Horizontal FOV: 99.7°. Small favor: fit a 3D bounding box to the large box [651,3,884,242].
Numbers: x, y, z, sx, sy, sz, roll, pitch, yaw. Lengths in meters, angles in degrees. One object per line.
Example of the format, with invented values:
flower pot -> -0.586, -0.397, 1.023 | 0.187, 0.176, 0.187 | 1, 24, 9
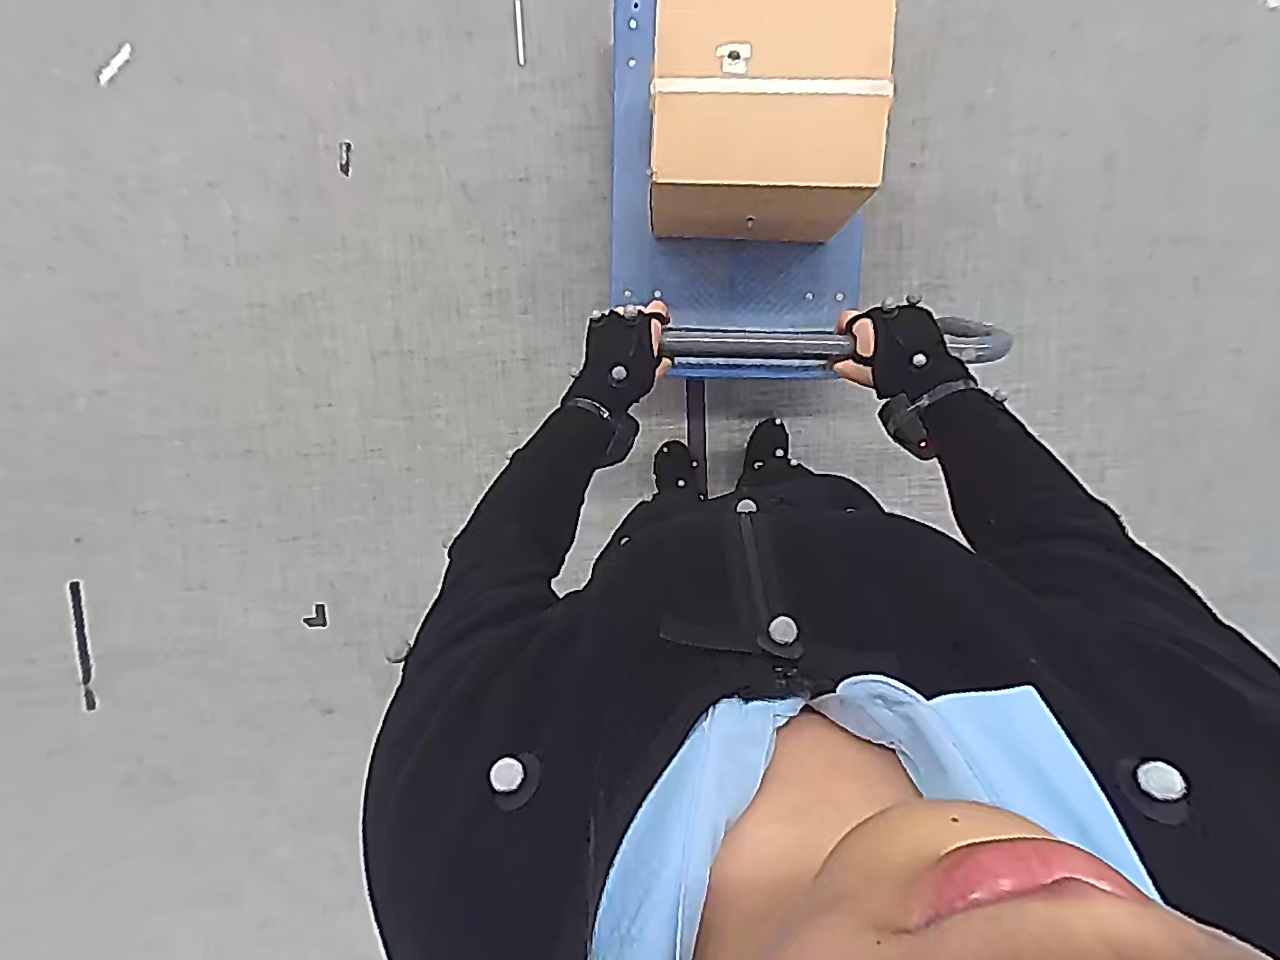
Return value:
large box -> 0.231, -0.689, 1.102 | 0.408, 0.320, 0.320 | 2, 96, 3
